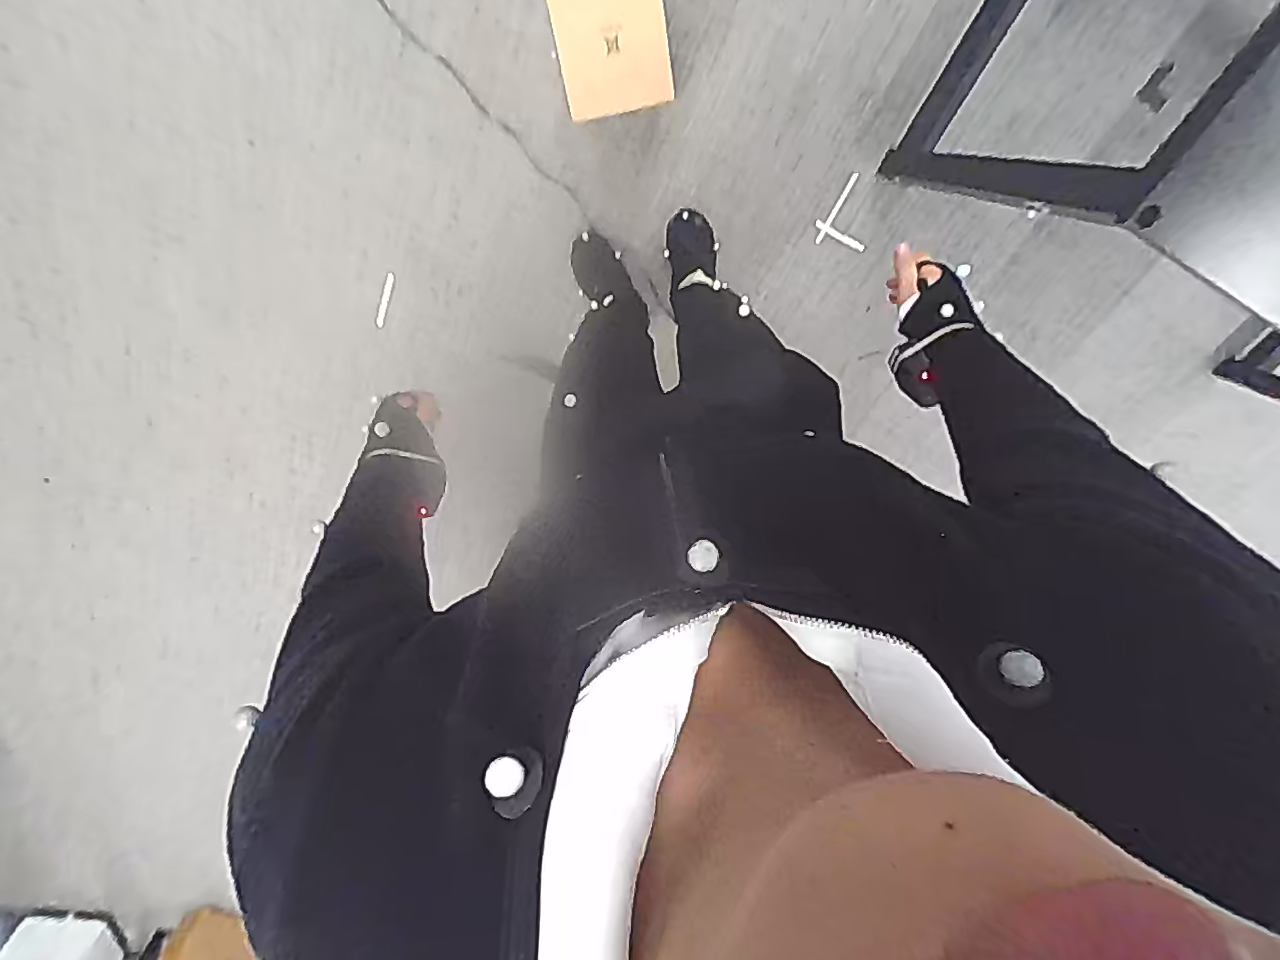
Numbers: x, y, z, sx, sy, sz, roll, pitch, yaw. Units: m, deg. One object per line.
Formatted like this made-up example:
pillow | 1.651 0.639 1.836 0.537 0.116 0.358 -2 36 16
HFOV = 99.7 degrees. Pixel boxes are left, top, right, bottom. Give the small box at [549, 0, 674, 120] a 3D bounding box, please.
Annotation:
small box | -0.044 -0.698 0.872 0.168 0.176 0.179 -10 124 6
